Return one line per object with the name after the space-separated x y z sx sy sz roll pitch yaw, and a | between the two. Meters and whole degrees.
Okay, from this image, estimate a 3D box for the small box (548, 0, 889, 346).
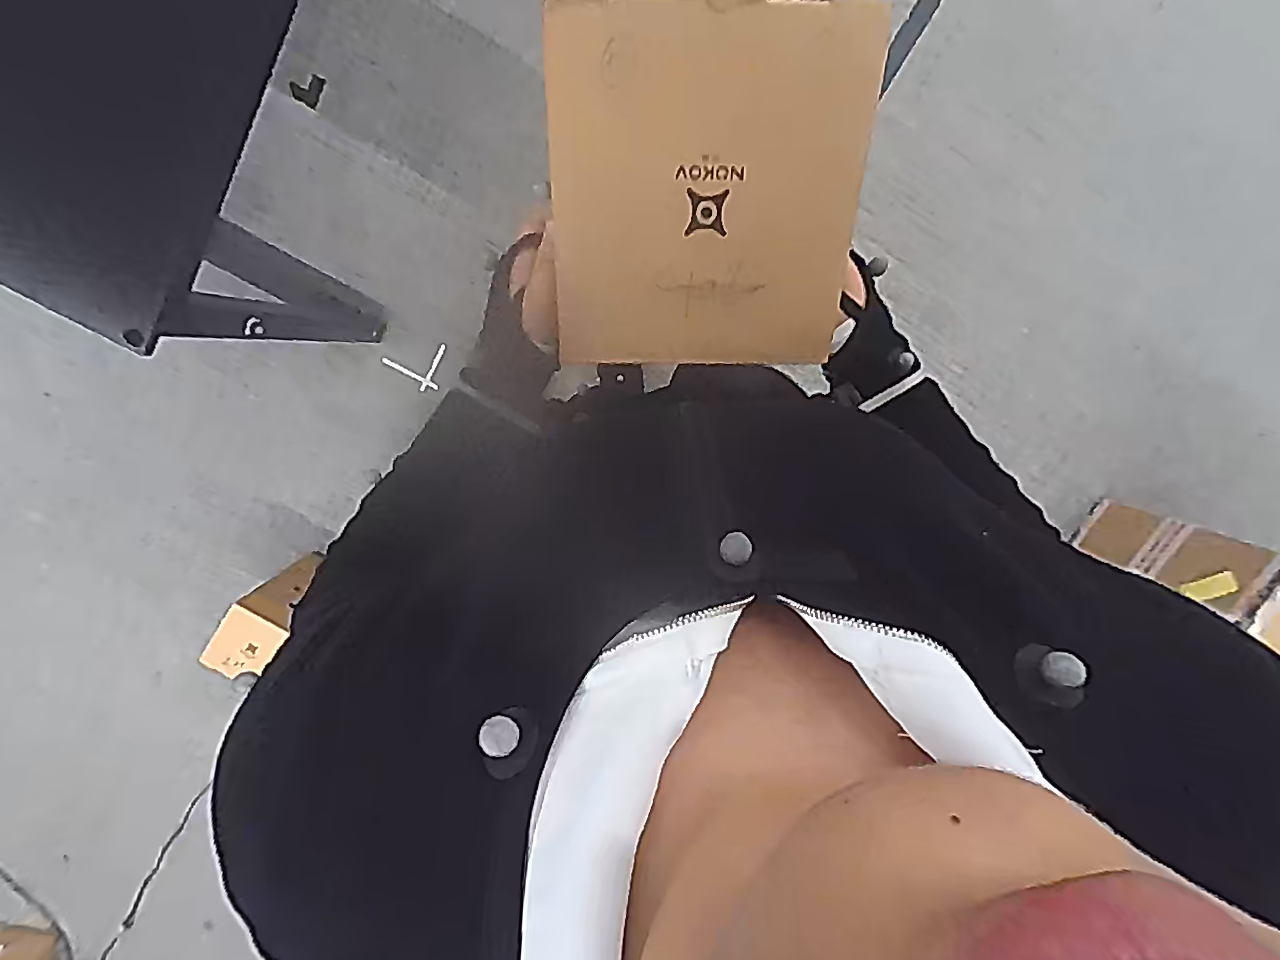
0.032 -0.196 0.357 0.168 0.176 0.179 -1 119 -2 | small box

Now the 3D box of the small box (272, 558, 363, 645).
-0.890 0.329 1.444 0.179 0.176 0.168 38 99 -11 | small box

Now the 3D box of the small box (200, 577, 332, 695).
-0.872 0.361 1.284 0.168 0.176 0.179 35 100 -8 | small box
